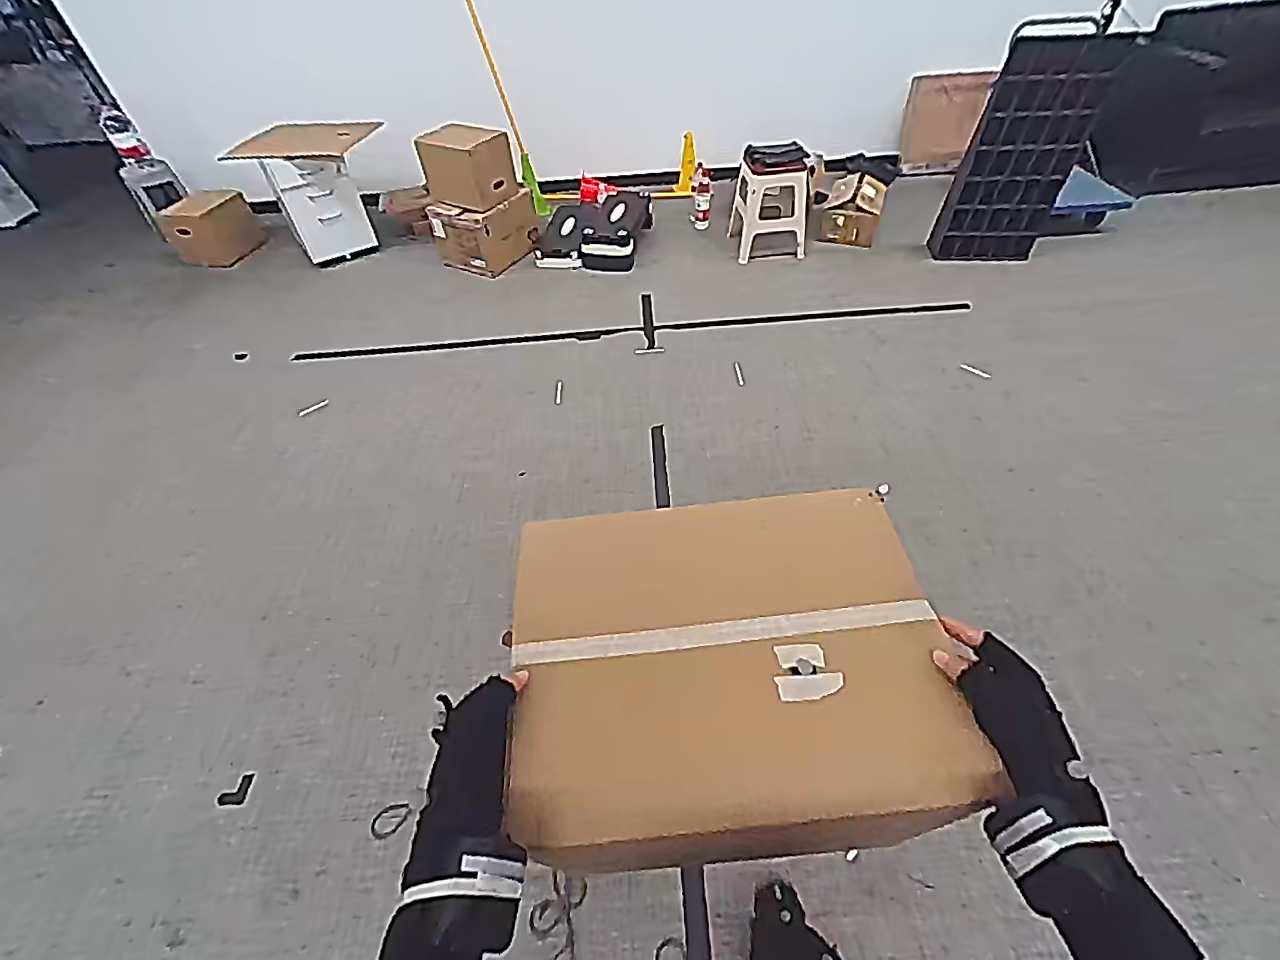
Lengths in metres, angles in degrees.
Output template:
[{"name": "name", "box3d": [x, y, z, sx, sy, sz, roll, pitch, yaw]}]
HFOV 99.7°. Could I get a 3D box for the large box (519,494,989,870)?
[{"name": "large box", "box3d": [0.090, 0.250, 0.653, 0.408, 0.320, 0.320, -6, 51, 0]}]
